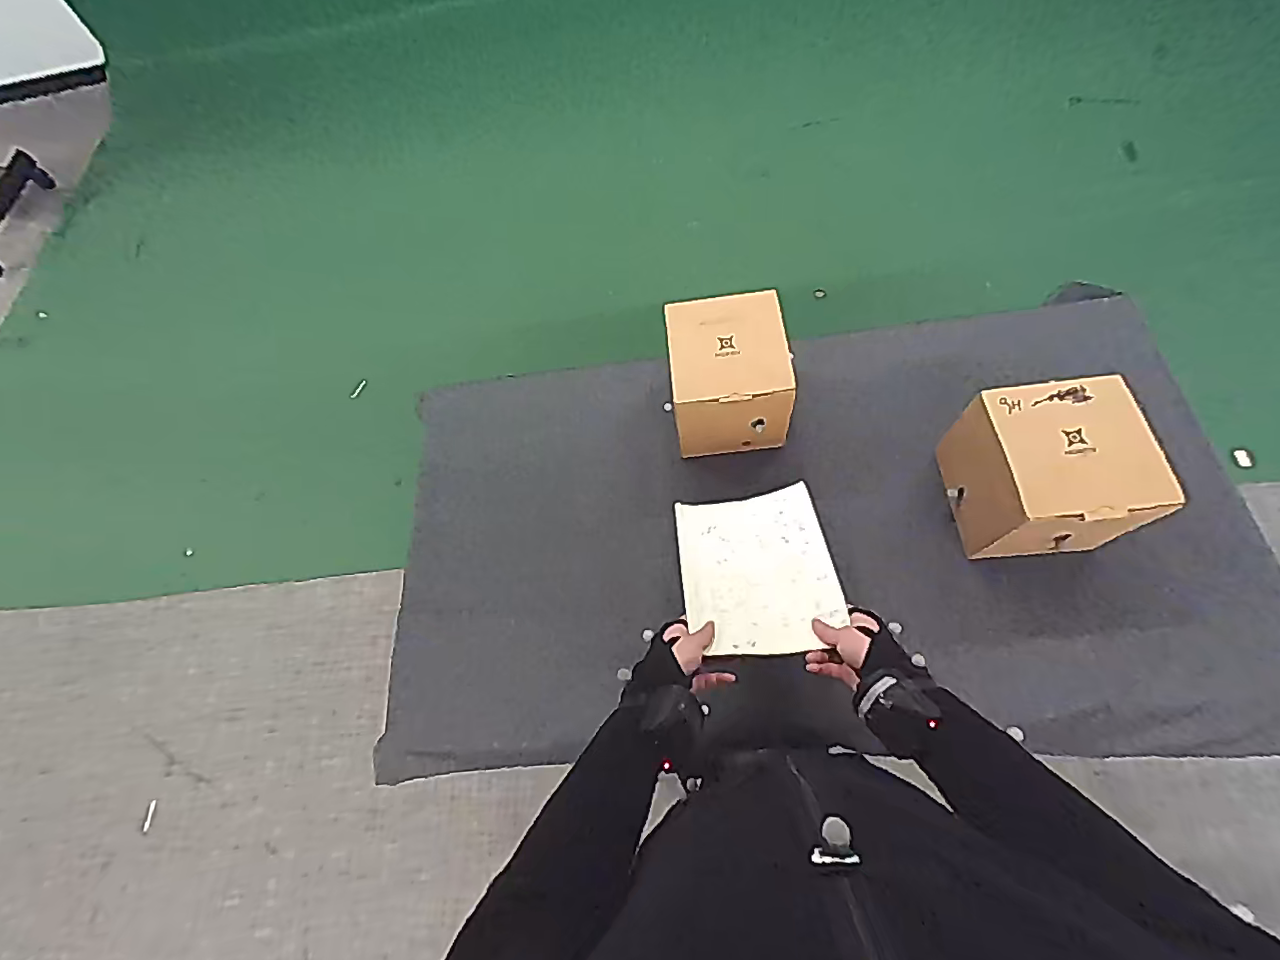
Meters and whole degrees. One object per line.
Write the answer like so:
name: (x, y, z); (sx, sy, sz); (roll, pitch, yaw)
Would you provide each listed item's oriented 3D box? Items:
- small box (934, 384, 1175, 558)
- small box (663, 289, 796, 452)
small box: (0.519, 0.000, 0.711); (0.168, 0.176, 0.179); (-6, 67, 5)
small box: (0.129, -0.153, 0.817); (0.168, 0.176, 0.179); (-7, 65, 4)
